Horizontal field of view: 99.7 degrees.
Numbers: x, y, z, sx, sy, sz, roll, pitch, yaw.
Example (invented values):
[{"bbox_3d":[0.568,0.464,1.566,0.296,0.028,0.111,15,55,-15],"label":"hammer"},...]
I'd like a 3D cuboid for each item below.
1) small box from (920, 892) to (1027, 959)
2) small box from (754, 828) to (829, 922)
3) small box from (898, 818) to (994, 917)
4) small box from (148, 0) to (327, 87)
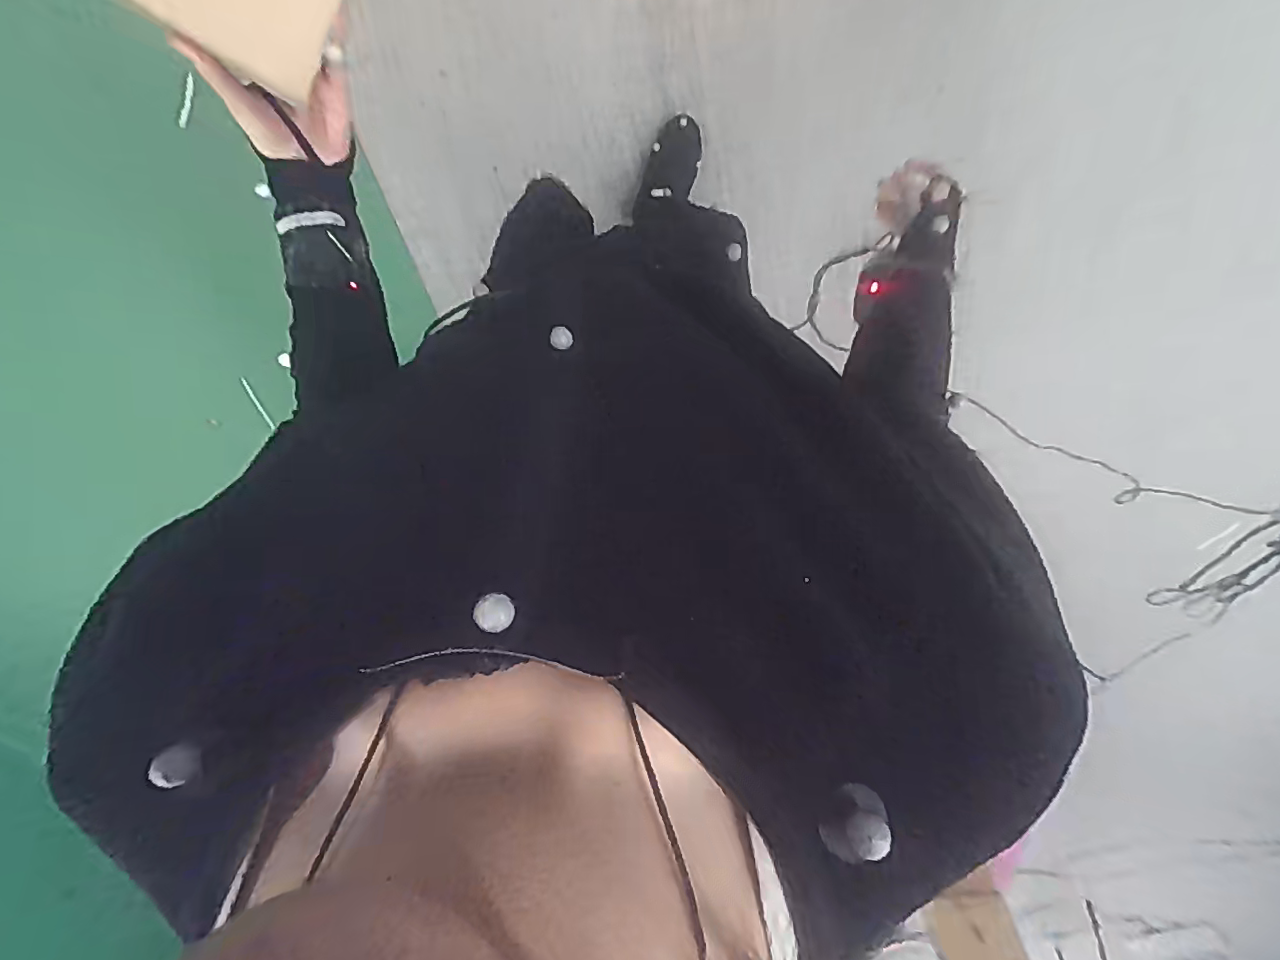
[{"bbox_3d":[0.783,1.101,1.278,0.168,0.176,0.179,-8,124,8],"label":"small box"},{"bbox_3d":[0.409,1.070,1.472,0.168,0.176,0.179,-10,126,9],"label":"small box"},{"bbox_3d":[0.791,1.015,1.417,0.168,0.176,0.179,-10,124,9],"label":"small box"},{"bbox_3d":[-0.245,-0.353,0.285,0.168,0.179,0.176,18,106,-42],"label":"small box"}]
